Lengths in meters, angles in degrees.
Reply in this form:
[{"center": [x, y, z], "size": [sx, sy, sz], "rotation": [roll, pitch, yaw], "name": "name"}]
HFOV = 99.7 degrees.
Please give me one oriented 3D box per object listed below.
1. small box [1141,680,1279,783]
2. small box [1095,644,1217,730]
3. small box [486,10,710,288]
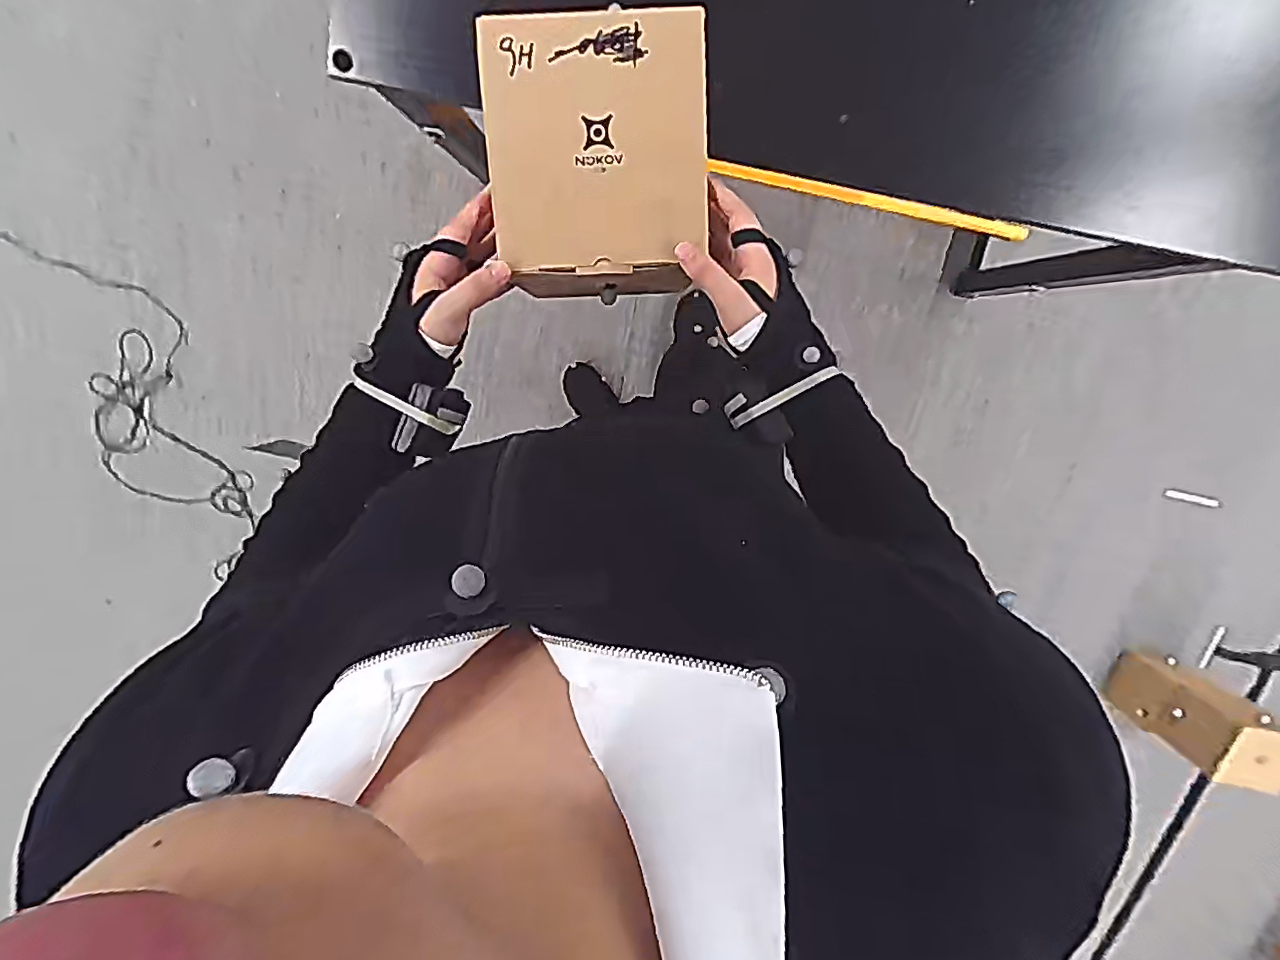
[{"center": [1.499, 0.653, 1.420], "size": [0.179, 0.176, 0.168], "rotation": [12, 105, -1], "name": "small box"}, {"center": [1.489, 0.610, 1.577], "size": [0.168, 0.176, 0.179], "rotation": [11, 106, -2], "name": "small box"}, {"center": [-0.028, -0.271, 0.487], "size": [0.168, 0.176, 0.179], "rotation": [-2, 103, 0], "name": "small box"}]
